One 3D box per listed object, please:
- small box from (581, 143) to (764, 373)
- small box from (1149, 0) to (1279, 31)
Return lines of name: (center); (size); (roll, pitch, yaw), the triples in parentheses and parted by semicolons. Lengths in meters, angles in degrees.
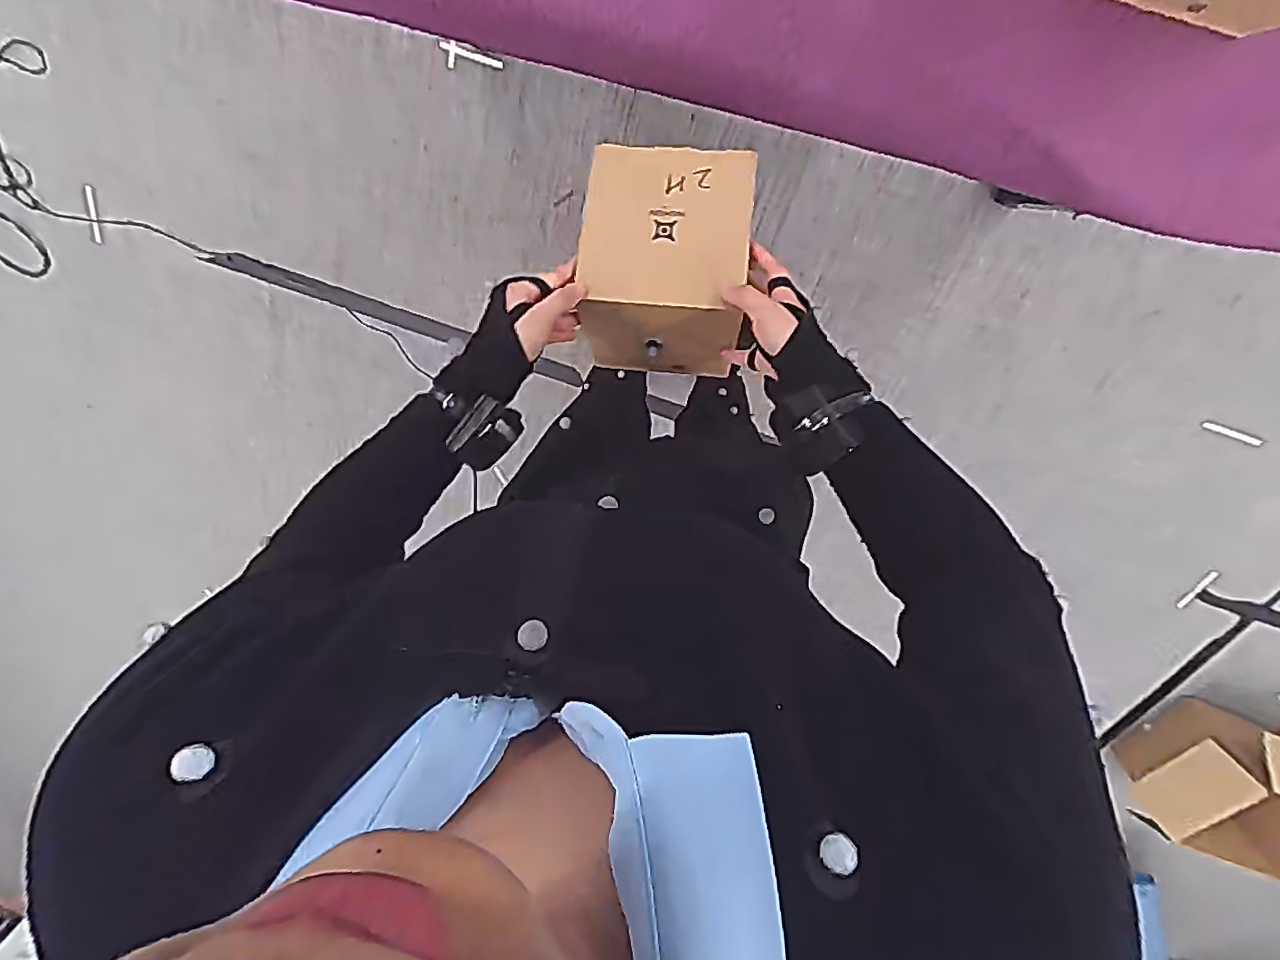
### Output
small box: (0.038, -0.237, 0.611); (0.168, 0.176, 0.179); (7, 78, 4)
small box: (0.438, -0.427, 0.343); (0.168, 0.176, 0.179); (16, 119, -2)
